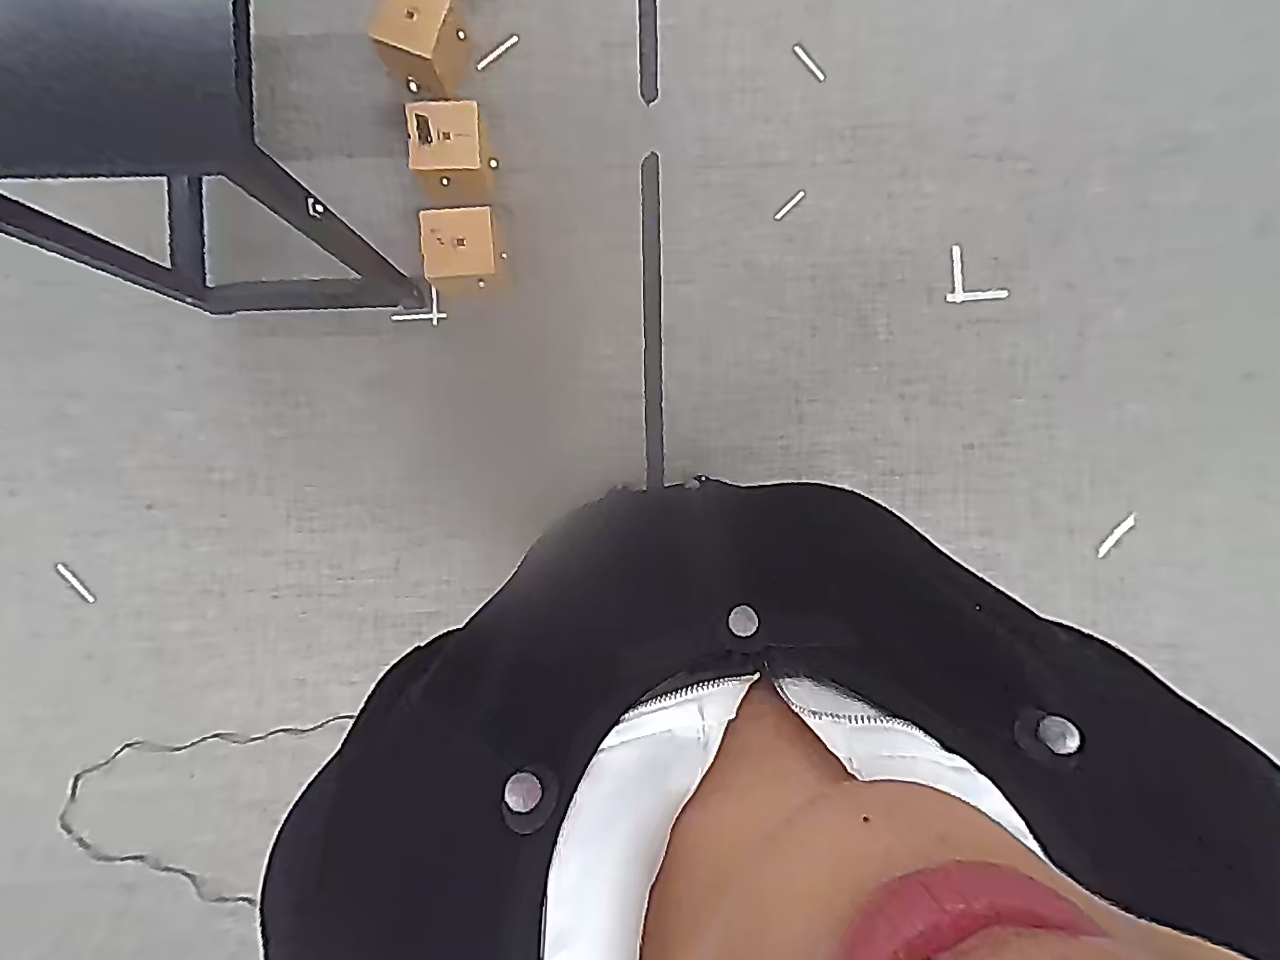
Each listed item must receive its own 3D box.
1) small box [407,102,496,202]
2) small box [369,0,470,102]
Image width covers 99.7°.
[{"bbox_3d":[-0.485,-0.845,1.405,0.179,0.176,0.168,-3,91,-2],"label":"small box"},{"bbox_3d":[-0.560,-1.137,1.399,0.168,0.176,0.179,19,92,-1],"label":"small box"}]
